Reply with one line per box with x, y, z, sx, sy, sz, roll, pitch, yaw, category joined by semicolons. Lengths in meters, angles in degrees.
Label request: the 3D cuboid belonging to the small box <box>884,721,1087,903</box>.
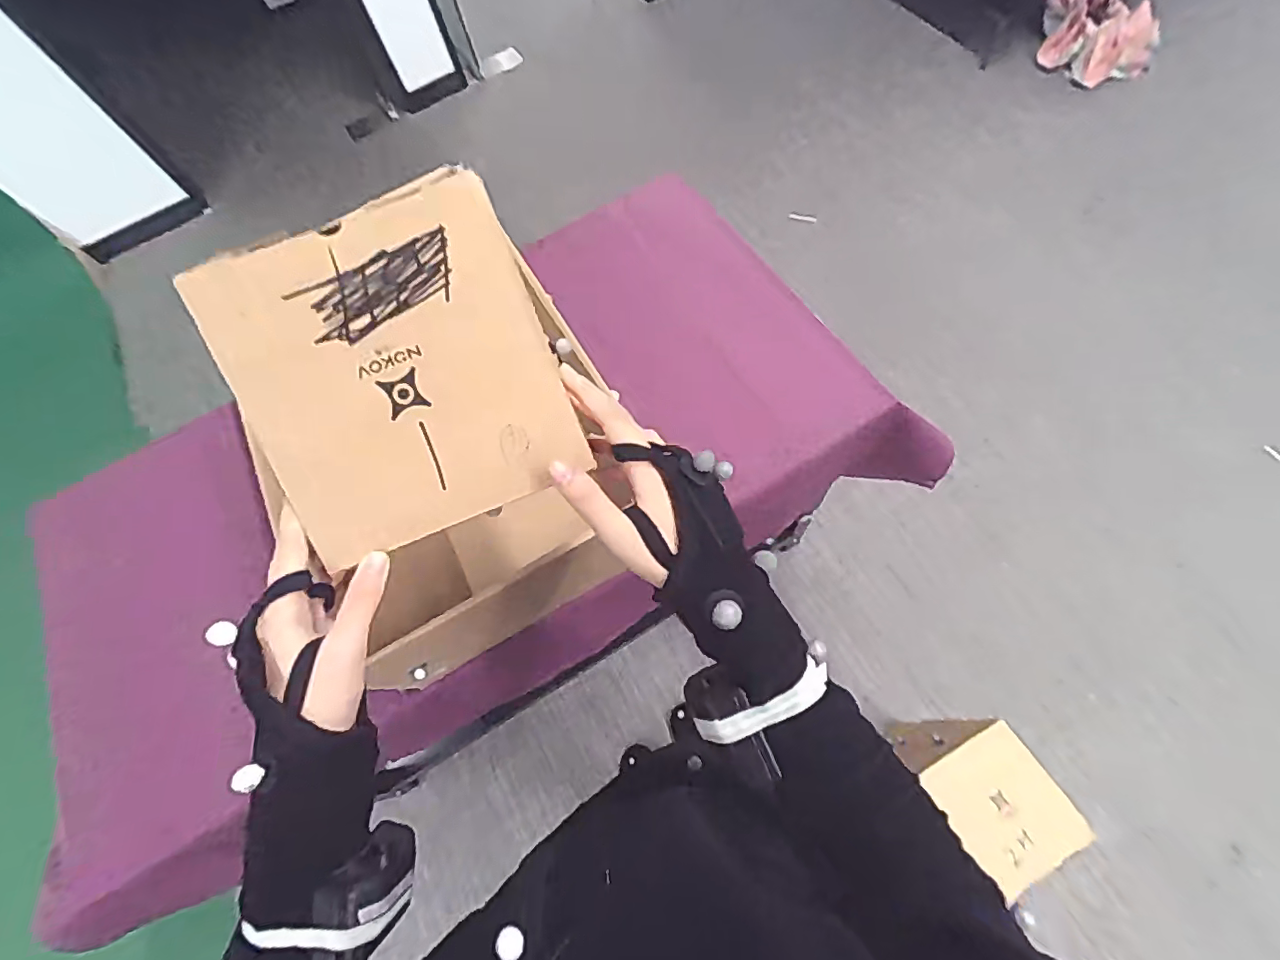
0.517;0.502;0.844;0.168;0.176;0.179;-29;66;-5;small box

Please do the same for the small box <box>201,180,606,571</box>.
-0.133;-0.065;0.376;0.168;0.176;0.179;-21;101;-3;small box
